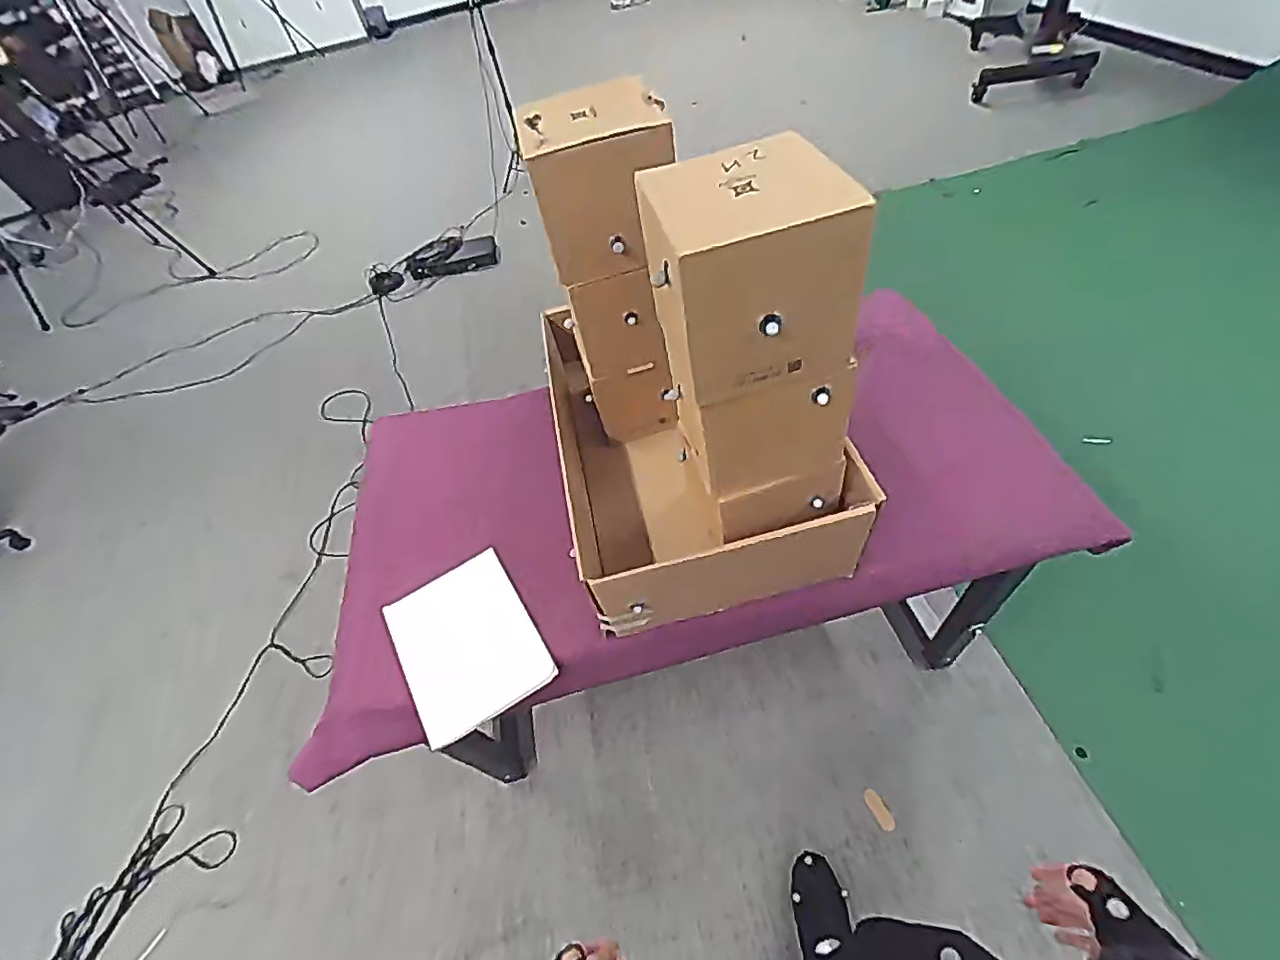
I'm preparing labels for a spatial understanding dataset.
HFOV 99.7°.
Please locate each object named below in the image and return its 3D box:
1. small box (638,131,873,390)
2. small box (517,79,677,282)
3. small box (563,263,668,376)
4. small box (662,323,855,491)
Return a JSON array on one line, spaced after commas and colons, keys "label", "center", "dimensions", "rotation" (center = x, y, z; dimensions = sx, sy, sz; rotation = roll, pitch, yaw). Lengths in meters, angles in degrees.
[{"label": "small box", "center": [0.105, -0.209, 0.540], "dimensions": [0.168, 0.176, 0.179], "rotation": [-15, 49, -1]}, {"label": "small box", "center": [-0.051, -0.393, 0.720], "dimensions": [0.179, 0.176, 0.168], "rotation": [-14, 52, -2]}, {"label": "small box", "center": [-0.025, -0.293, 0.847], "dimensions": [0.179, 0.176, 0.168], "rotation": [-17, 52, -2]}, {"label": "small box", "center": [0.138, -0.108, 0.666], "dimensions": [0.179, 0.176, 0.168], "rotation": [-15, 50, 0]}]
